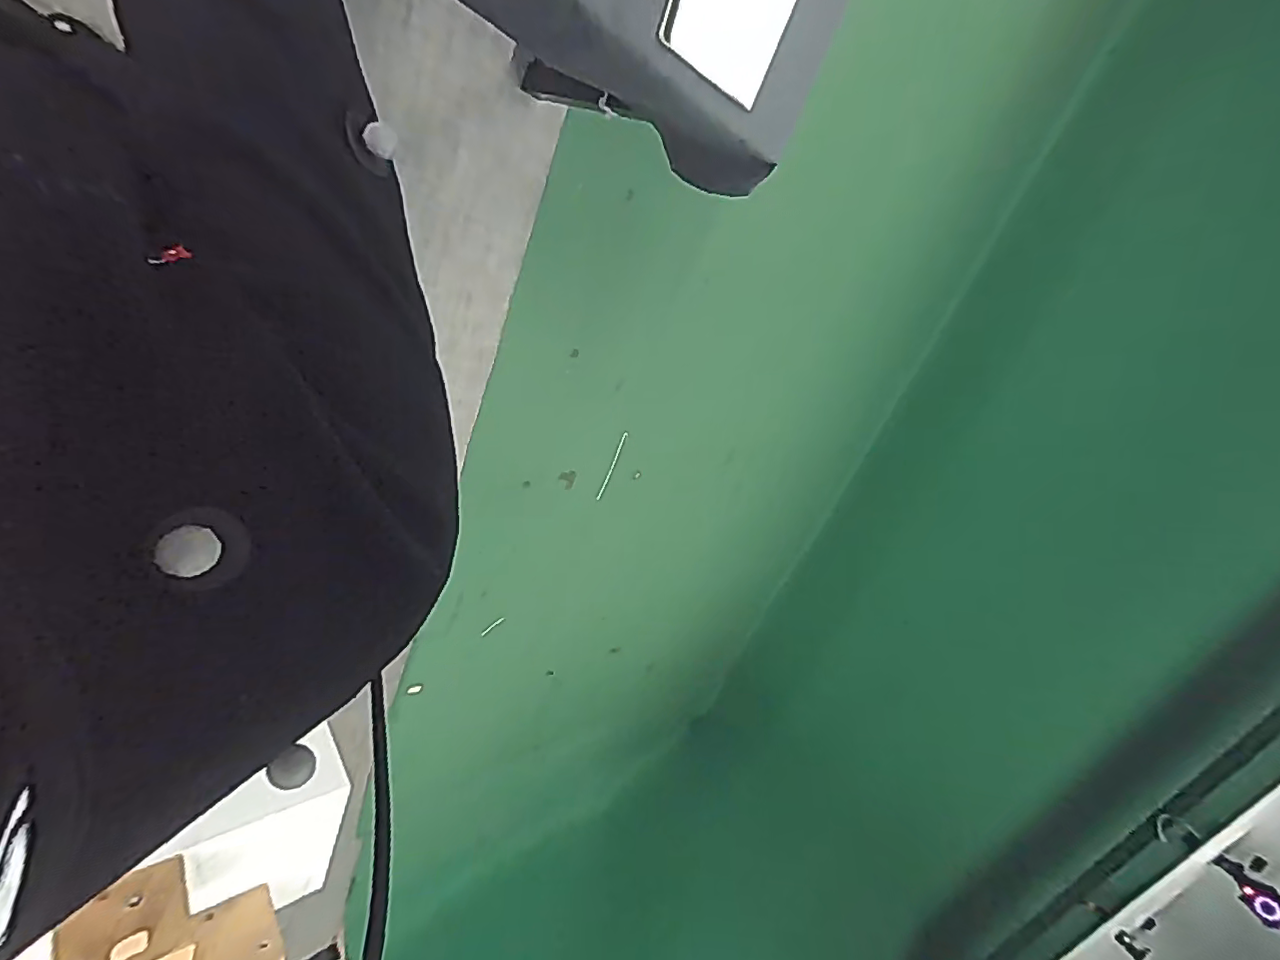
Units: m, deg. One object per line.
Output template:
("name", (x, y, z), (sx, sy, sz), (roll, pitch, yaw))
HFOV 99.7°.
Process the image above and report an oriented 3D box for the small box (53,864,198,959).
("small box", (-0.885, 0.818, 0.928), (0.168, 0.176, 0.179), (1, 121, -48))
